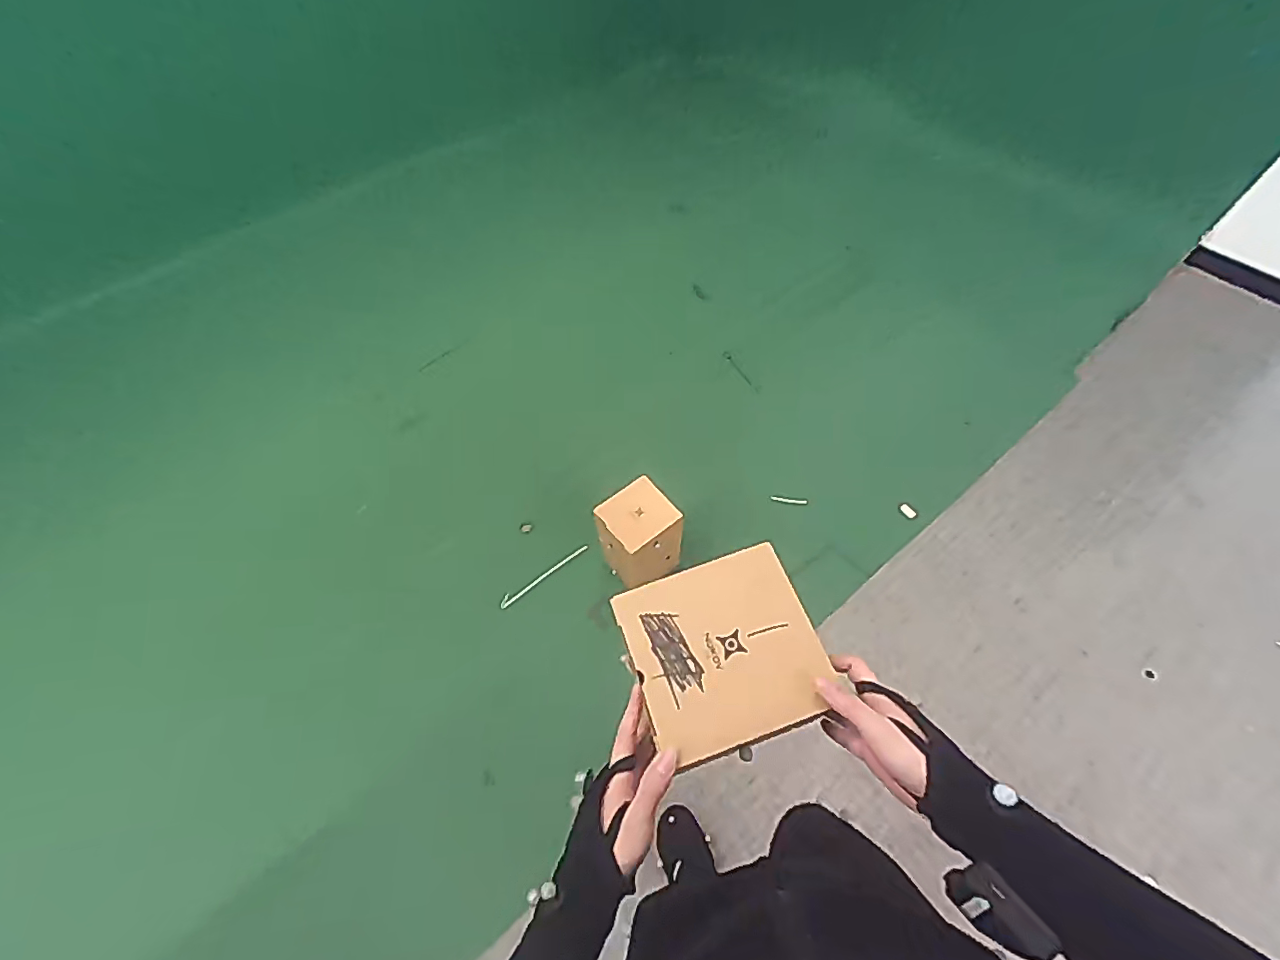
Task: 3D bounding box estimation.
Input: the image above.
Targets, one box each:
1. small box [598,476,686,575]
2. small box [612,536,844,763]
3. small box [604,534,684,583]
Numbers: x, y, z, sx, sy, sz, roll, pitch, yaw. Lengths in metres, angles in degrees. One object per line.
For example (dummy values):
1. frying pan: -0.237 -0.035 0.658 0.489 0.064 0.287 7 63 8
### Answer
1. small box: 0.006 0.128 1.477 0.179 0.176 0.168 -35 64 -17
2. small box: 0.084 0.189 0.579 0.179 0.176 0.168 -18 61 -6
3. small box: 0.011 0.210 1.618 0.179 0.176 0.168 -34 63 -17
